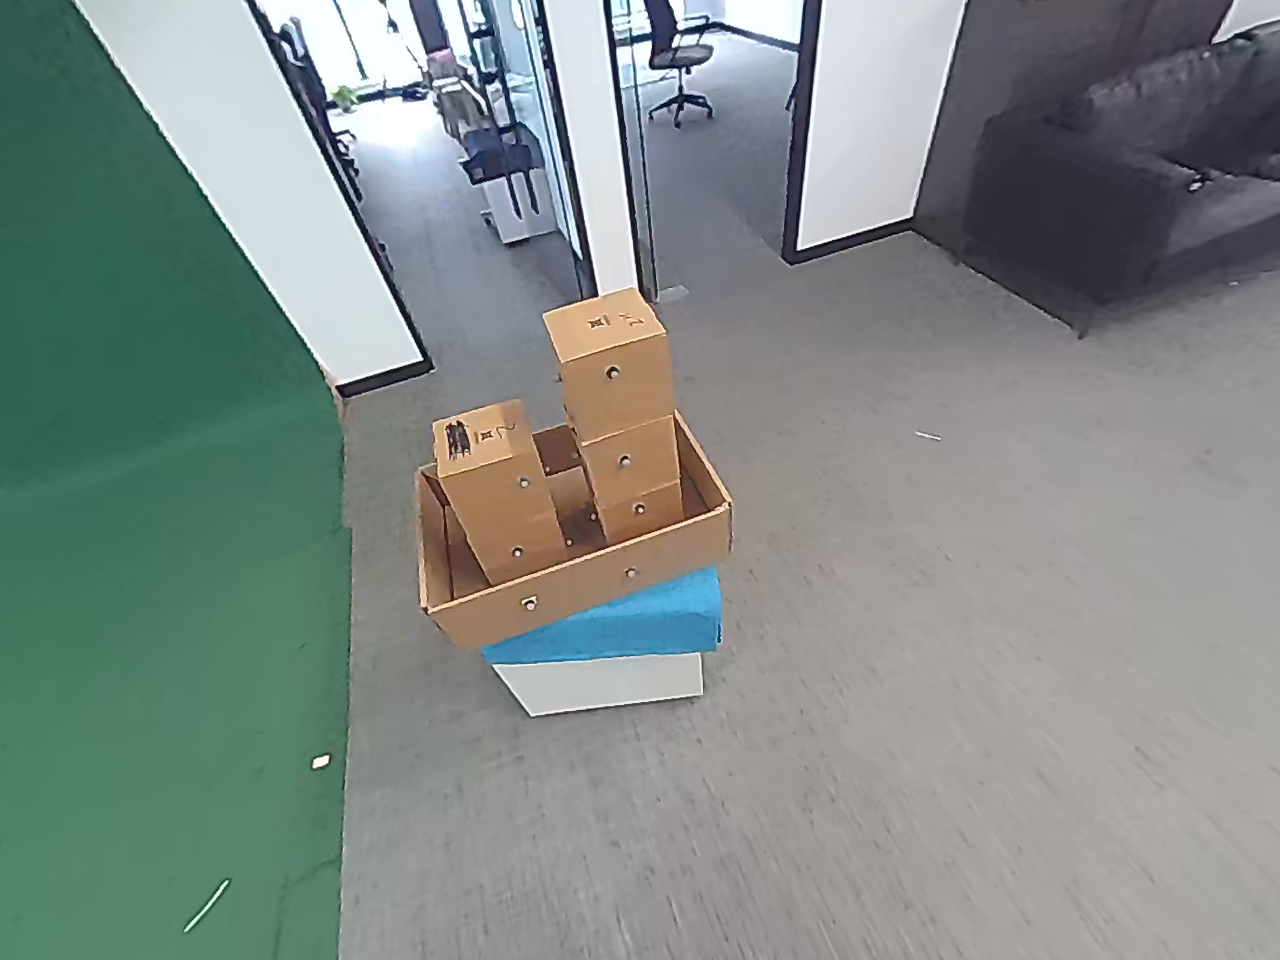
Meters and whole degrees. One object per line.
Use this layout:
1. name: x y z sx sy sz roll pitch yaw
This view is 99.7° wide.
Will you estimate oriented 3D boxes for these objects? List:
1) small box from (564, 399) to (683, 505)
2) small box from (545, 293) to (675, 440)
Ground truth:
1. small box: -0.029 -0.077 1.063 0.179 0.176 0.168 -20 47 -6
2. small box: -0.049 -0.195 0.949 0.179 0.176 0.168 -18 47 -6
